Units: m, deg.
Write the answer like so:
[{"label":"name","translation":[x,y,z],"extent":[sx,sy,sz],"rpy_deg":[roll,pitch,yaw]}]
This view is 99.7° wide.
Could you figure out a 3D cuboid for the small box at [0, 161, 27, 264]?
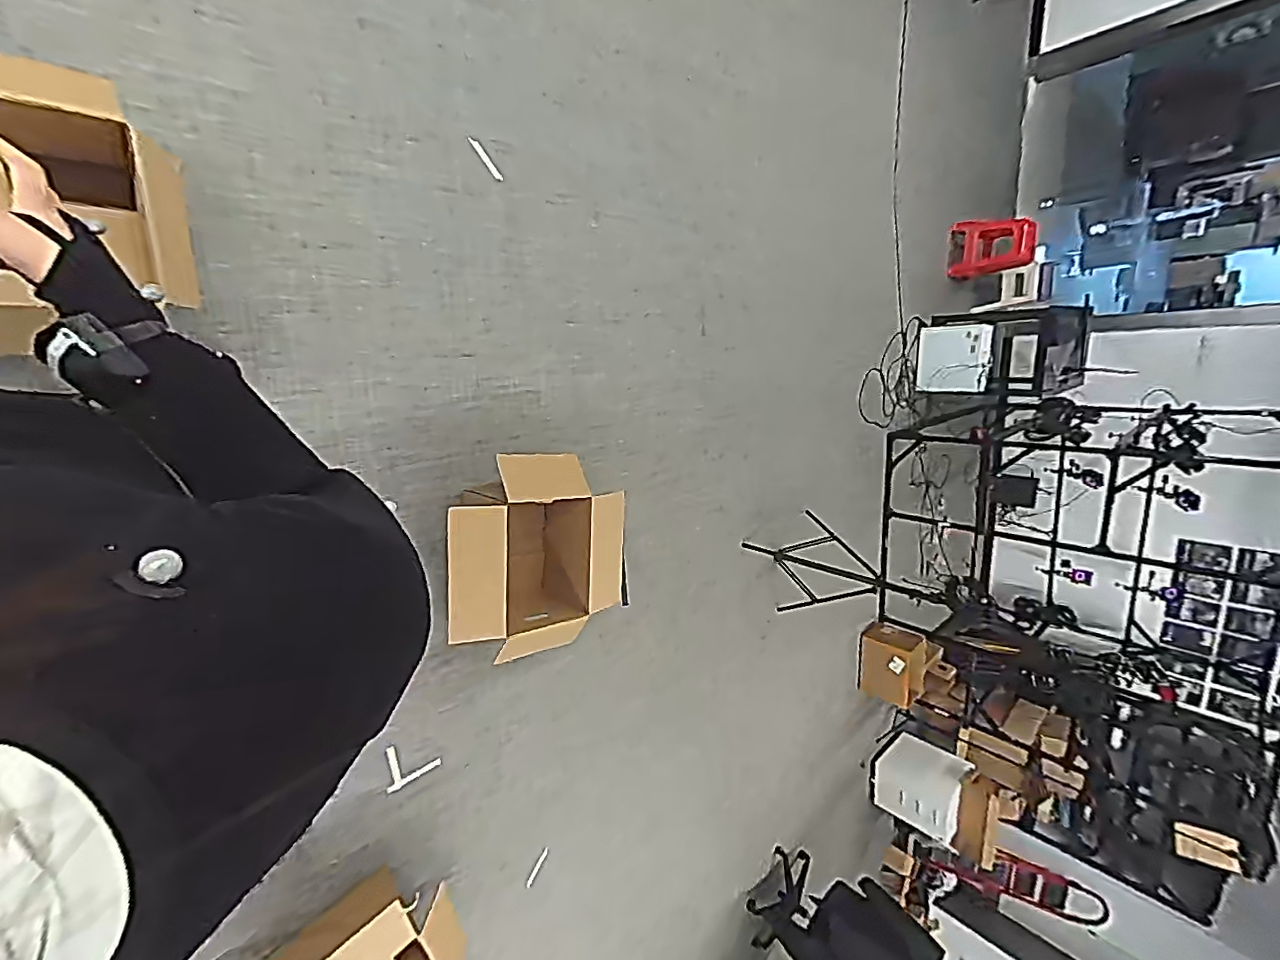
[{"label":"small box","translation":[-0.625,-0.252,0.399],"extent":[0.168,0.176,0.179],"rpy_deg":[-27,109,-59]}]
